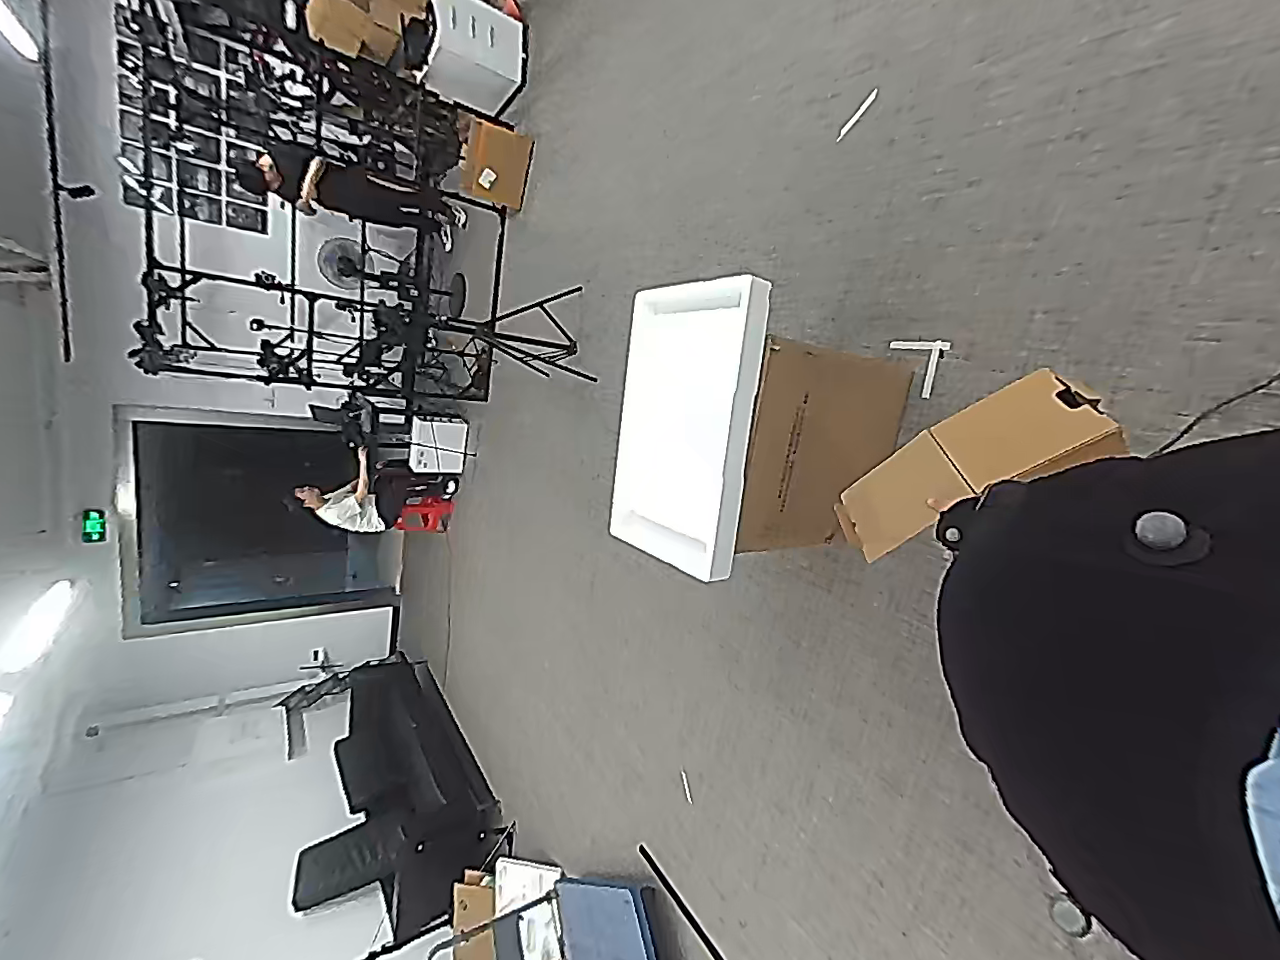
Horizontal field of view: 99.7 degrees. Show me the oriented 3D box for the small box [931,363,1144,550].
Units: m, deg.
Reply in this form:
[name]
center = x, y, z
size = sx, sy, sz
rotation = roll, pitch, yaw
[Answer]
[small box]
center = 0.569, -0.028, 0.784
size = 0.179, 0.176, 0.168
rotation = -32, 31, 24
